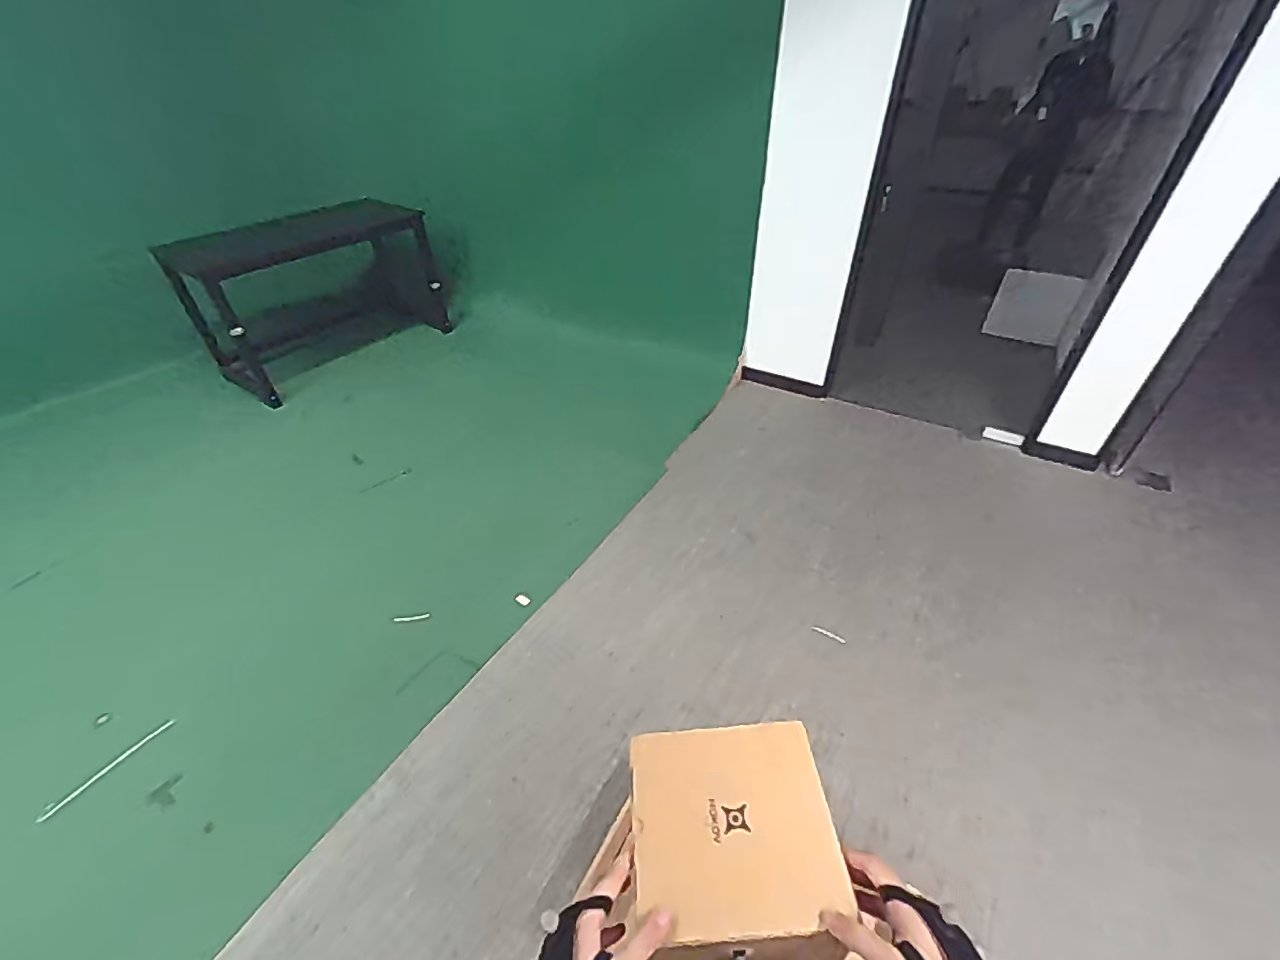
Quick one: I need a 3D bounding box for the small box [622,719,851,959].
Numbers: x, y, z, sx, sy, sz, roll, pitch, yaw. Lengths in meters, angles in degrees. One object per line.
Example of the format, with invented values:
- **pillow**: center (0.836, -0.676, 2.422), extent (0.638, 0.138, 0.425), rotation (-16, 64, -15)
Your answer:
- **small box**: center (0.079, 0.359, 0.524), extent (0.179, 0.176, 0.168), rotation (-7, 36, 1)
